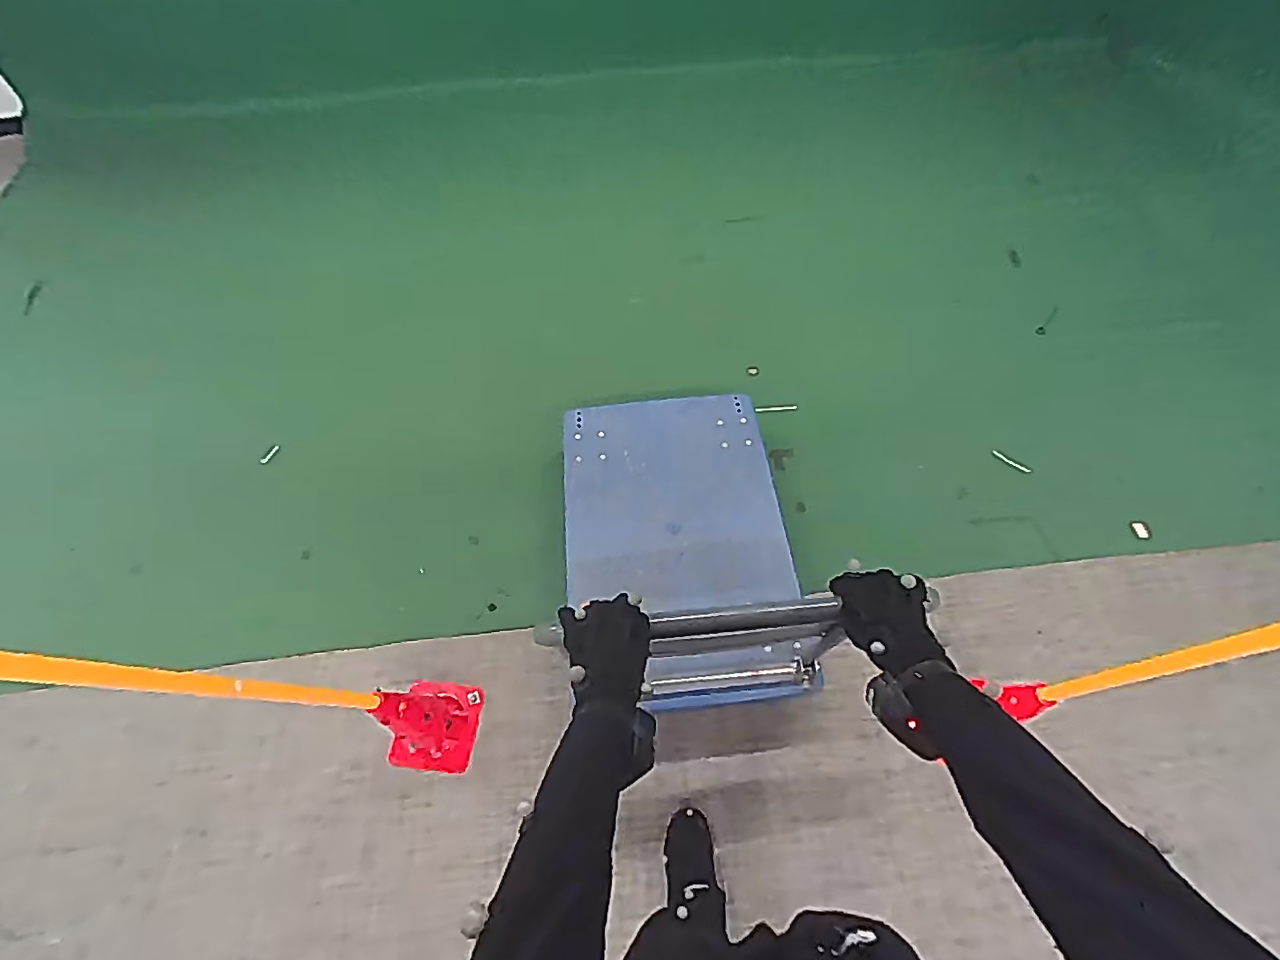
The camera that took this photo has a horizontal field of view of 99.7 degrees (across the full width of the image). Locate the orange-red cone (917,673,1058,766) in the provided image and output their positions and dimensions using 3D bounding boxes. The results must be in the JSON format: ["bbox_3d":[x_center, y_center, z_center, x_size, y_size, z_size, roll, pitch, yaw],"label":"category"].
[{"bbox_3d":[0.779,0.494,1.170,0.198,0.360,0.199,3,60,5],"label":"orange-red cone"}]
